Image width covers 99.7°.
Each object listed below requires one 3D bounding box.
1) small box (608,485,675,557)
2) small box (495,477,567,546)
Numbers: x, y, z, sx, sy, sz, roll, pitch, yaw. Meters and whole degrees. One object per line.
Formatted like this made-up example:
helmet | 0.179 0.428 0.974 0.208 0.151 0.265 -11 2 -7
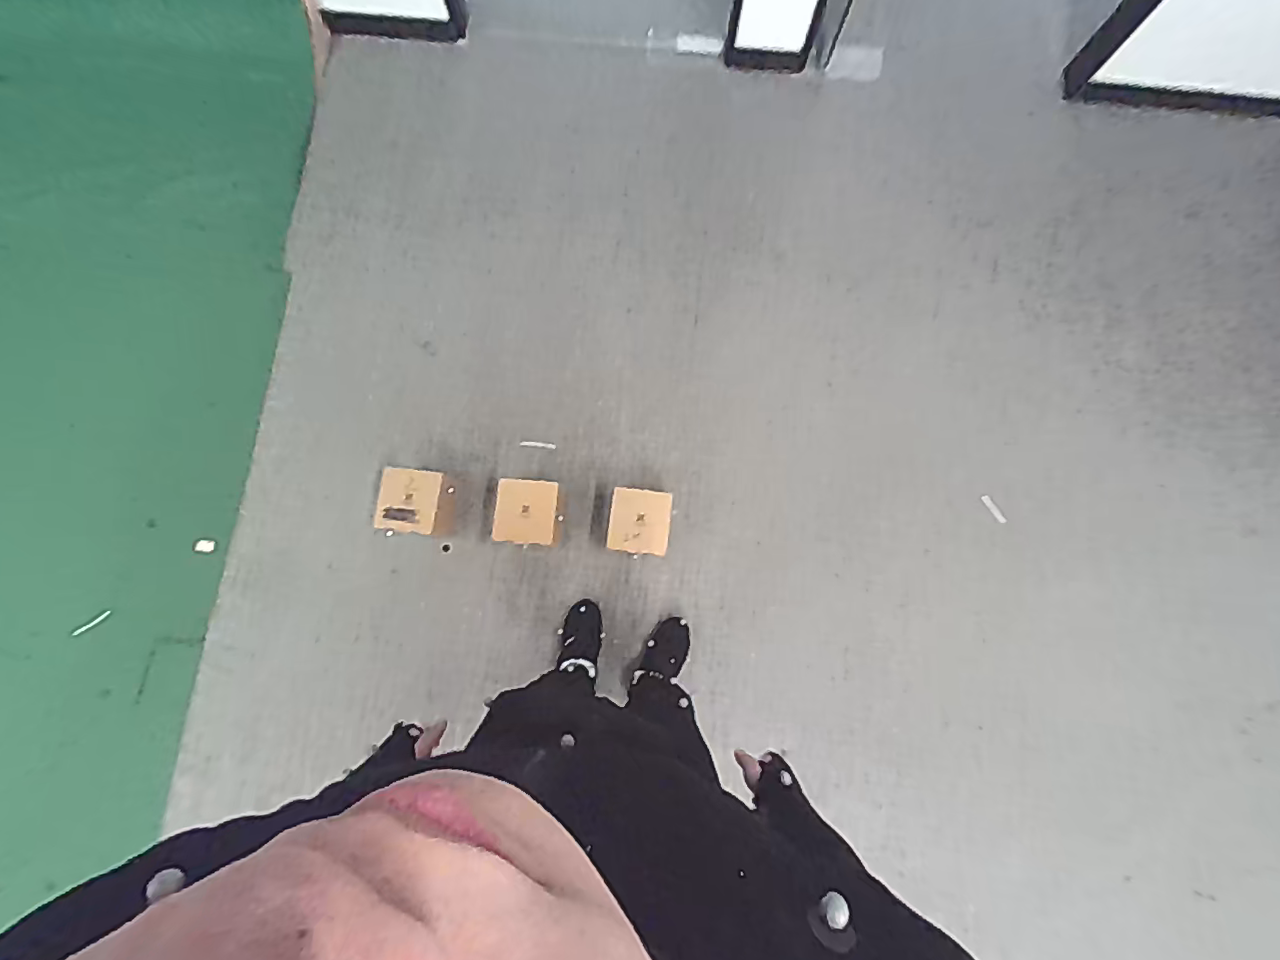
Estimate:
small box | 0.004 0.123 1.563 0.168 0.176 0.179 8 81 2
small box | -0.309 0.096 1.573 0.168 0.176 0.179 5 82 1
